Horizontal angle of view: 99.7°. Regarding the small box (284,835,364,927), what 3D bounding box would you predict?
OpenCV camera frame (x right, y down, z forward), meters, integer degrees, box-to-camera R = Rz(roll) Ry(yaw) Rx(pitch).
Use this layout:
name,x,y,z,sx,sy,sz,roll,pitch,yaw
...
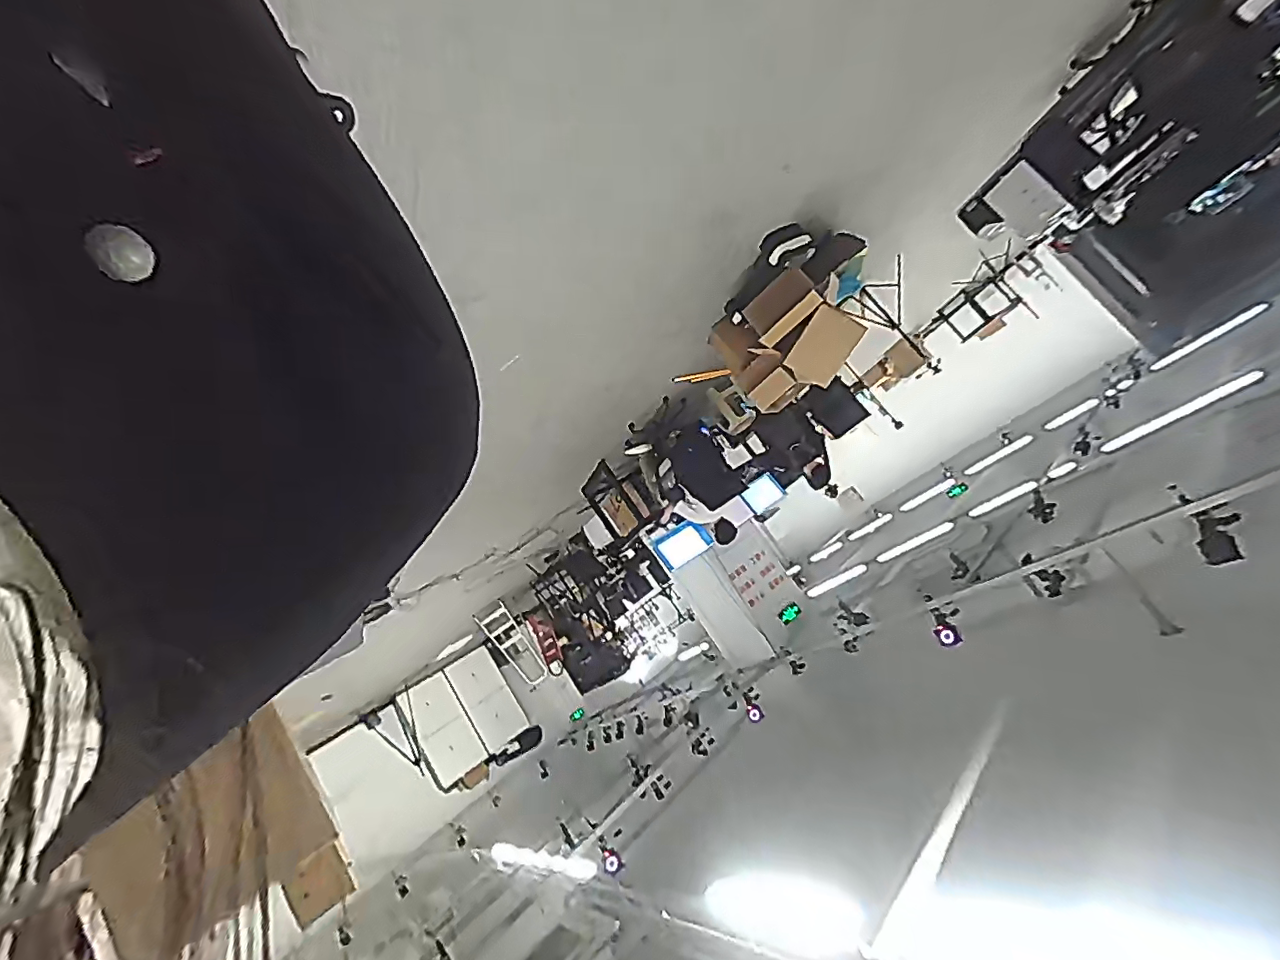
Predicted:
name,x,y,z,sx,sy,sz,roll,pitch,yaw
small box,-1.030,1.298,1.766,0.168,0.176,0.179,-28,166,-32
